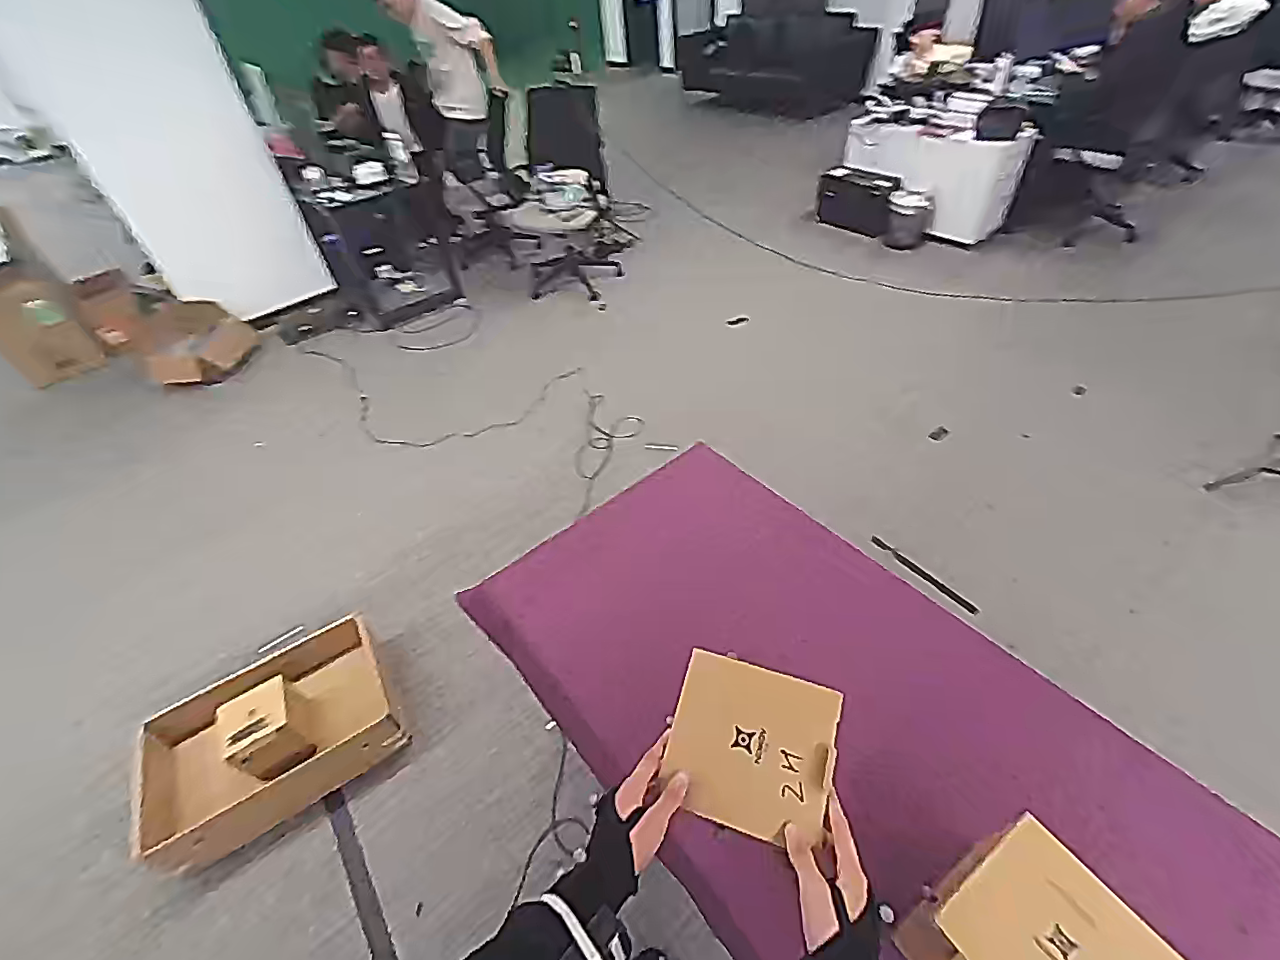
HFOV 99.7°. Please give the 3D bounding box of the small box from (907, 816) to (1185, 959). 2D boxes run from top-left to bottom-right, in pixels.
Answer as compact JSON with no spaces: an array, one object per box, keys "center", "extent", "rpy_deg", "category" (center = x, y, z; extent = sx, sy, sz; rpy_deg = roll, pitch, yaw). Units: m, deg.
[{"center":[0.418,0.514,0.583],"extent":[0.179,0.176,0.168],"rpy_deg":[-27,49,-20],"category":"small box"}]
